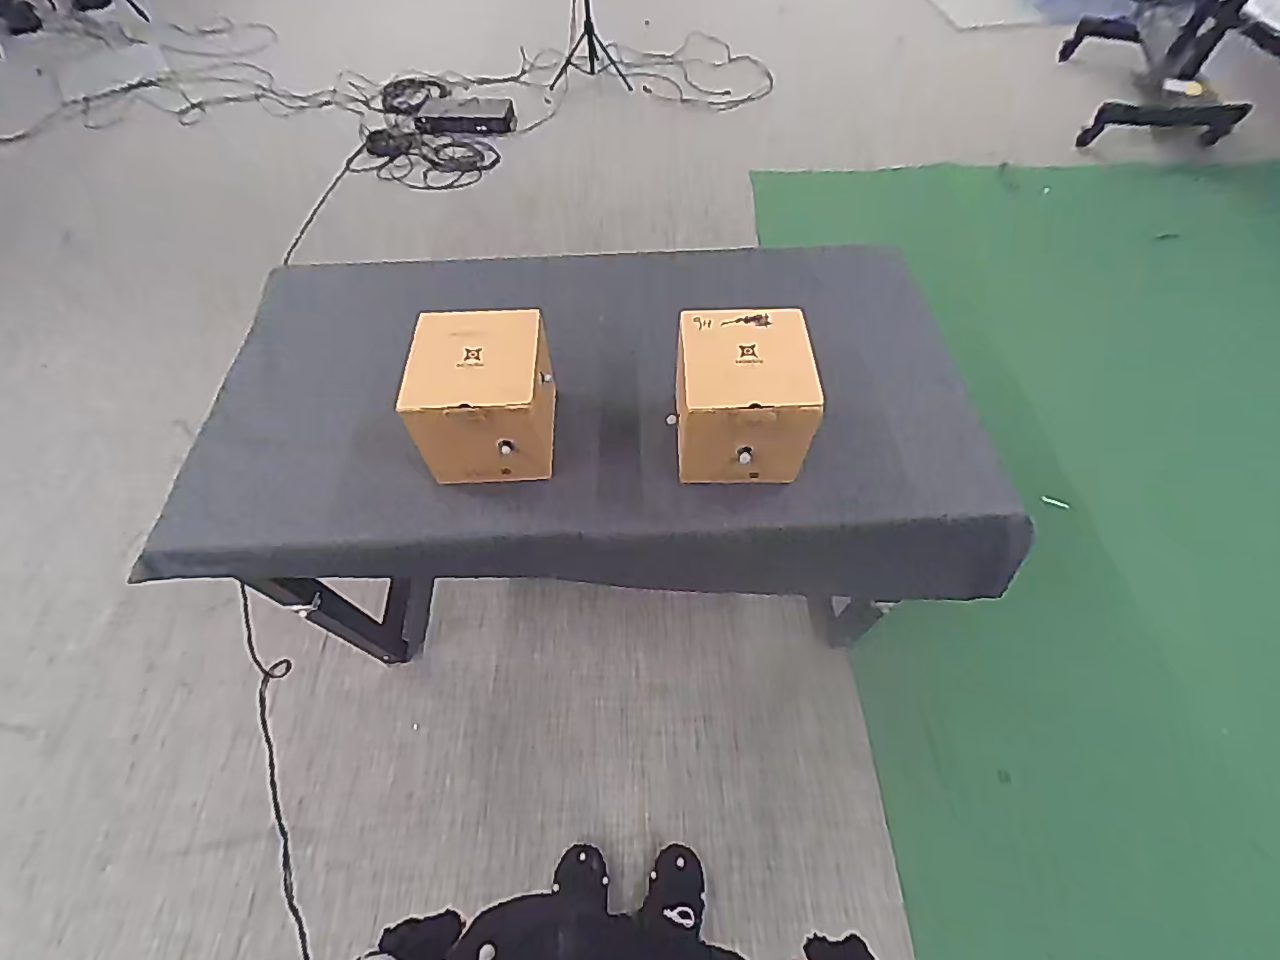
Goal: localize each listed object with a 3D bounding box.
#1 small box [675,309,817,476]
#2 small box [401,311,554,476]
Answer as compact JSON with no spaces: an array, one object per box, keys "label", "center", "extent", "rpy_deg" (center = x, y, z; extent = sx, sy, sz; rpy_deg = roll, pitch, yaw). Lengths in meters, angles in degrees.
[{"label":"small box","center":[0.136,-0.116,0.764],"extent":[0.168,0.176,0.179],"rpy_deg":[-1,58,0]},{"label":"small box","center":[-0.216,-0.115,0.771],"extent":[0.168,0.176,0.179],"rpy_deg":[-2,56,-3]}]
